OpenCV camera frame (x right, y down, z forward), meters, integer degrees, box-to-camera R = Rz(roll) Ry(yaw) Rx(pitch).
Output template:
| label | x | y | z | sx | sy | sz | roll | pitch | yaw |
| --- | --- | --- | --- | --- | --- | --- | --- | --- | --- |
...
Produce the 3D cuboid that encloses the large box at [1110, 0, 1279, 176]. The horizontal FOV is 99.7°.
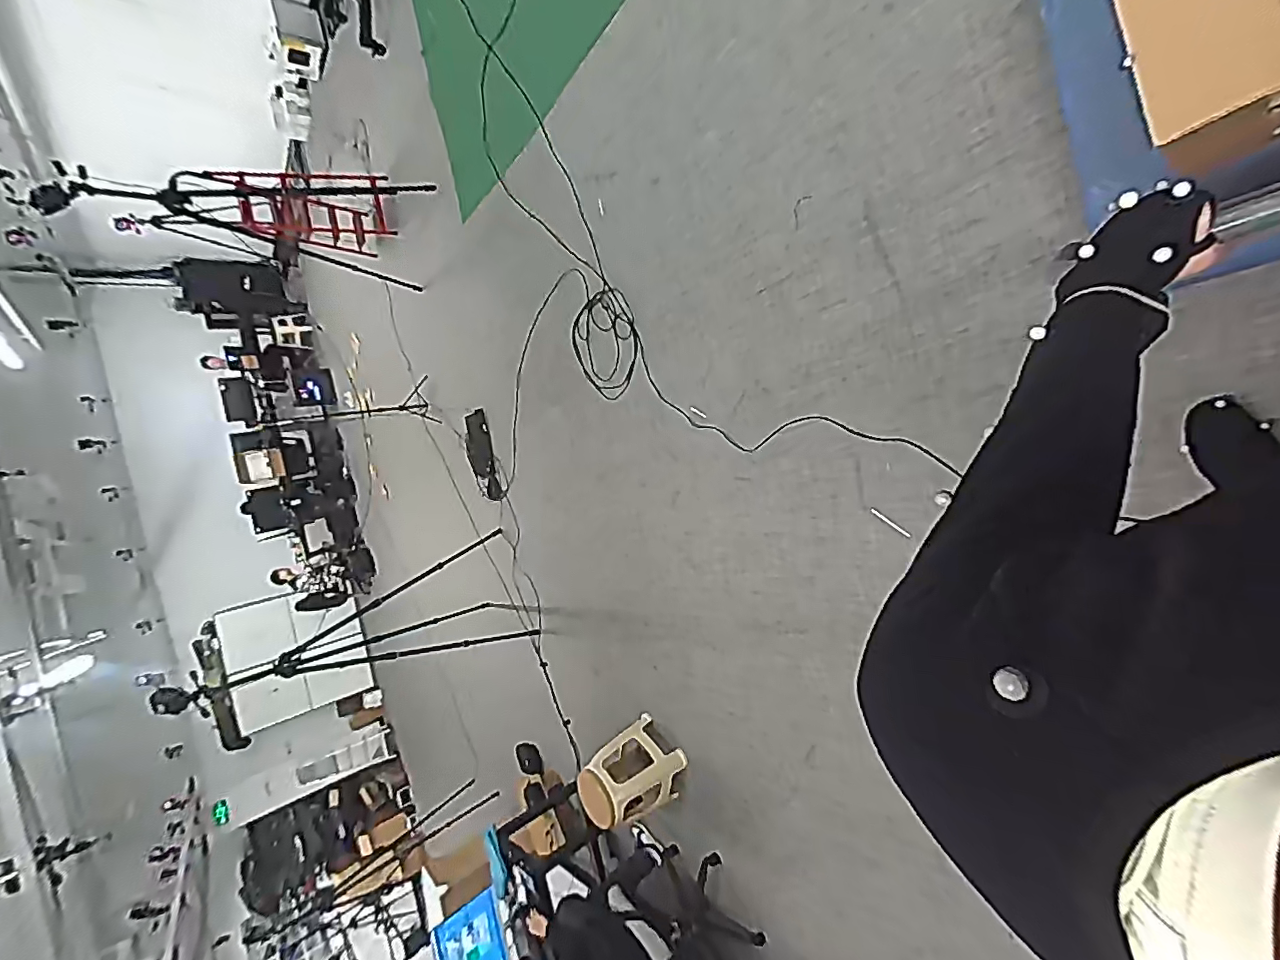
| label | x | y | z | sx | sy | sz | roll | pitch | yaw |
| --- | --- | --- | --- | --- | --- | --- | --- | --- | --- |
| large box | 0.937 | -0.747 | 0.796 | 0.320 | 0.320 | 0.408 | -16 | 87 | 51 |
